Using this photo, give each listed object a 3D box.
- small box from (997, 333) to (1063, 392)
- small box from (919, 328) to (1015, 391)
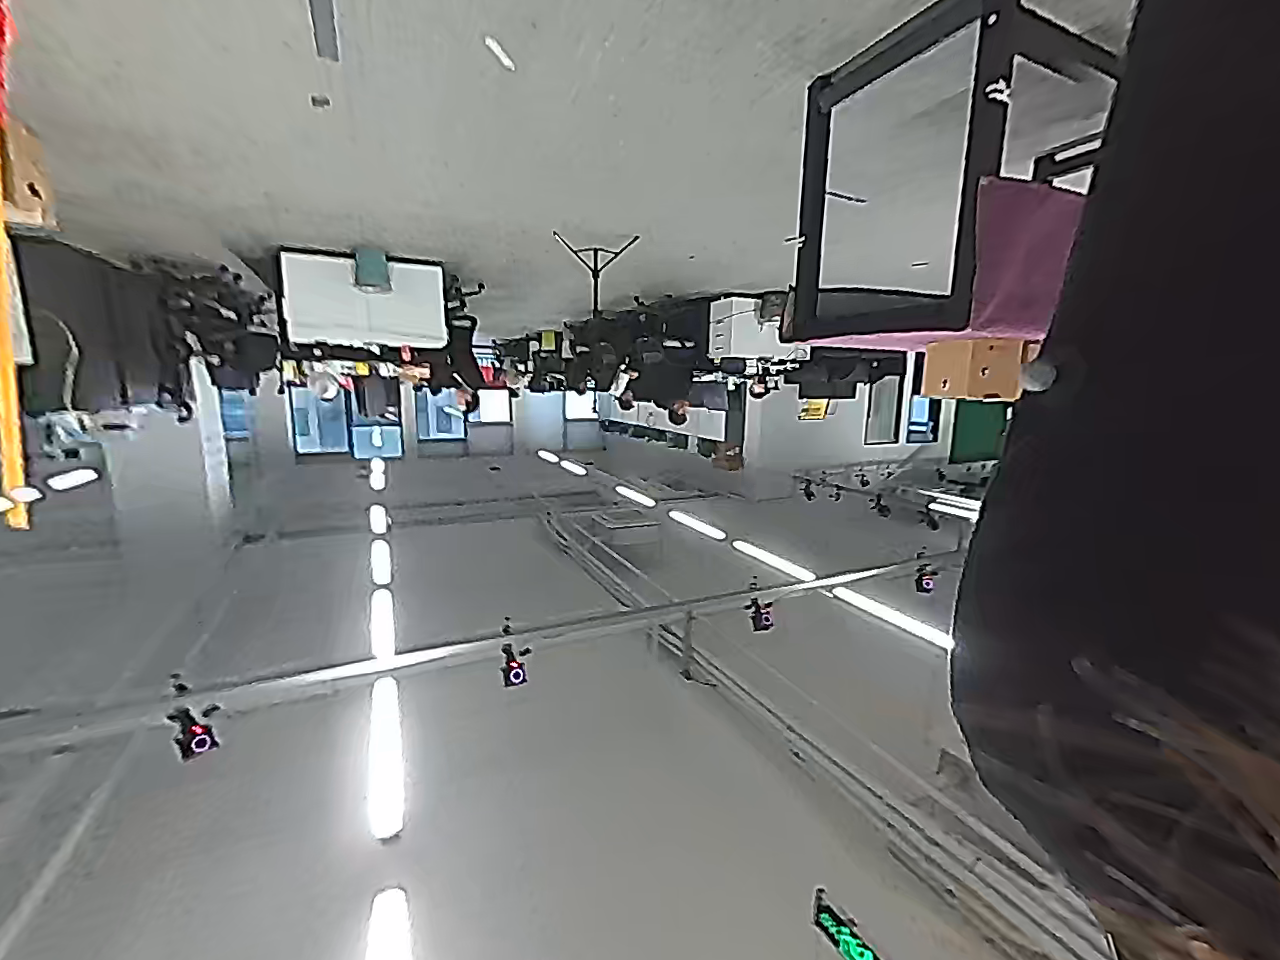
[{"bbox_3d":[1.159,-0.361,1.664,0.168,0.176,0.179,-3,-168,-16],"label":"small box"},{"bbox_3d":[0.929,-0.341,1.539,0.168,0.176,0.179,-2,-168,-14],"label":"small box"}]
